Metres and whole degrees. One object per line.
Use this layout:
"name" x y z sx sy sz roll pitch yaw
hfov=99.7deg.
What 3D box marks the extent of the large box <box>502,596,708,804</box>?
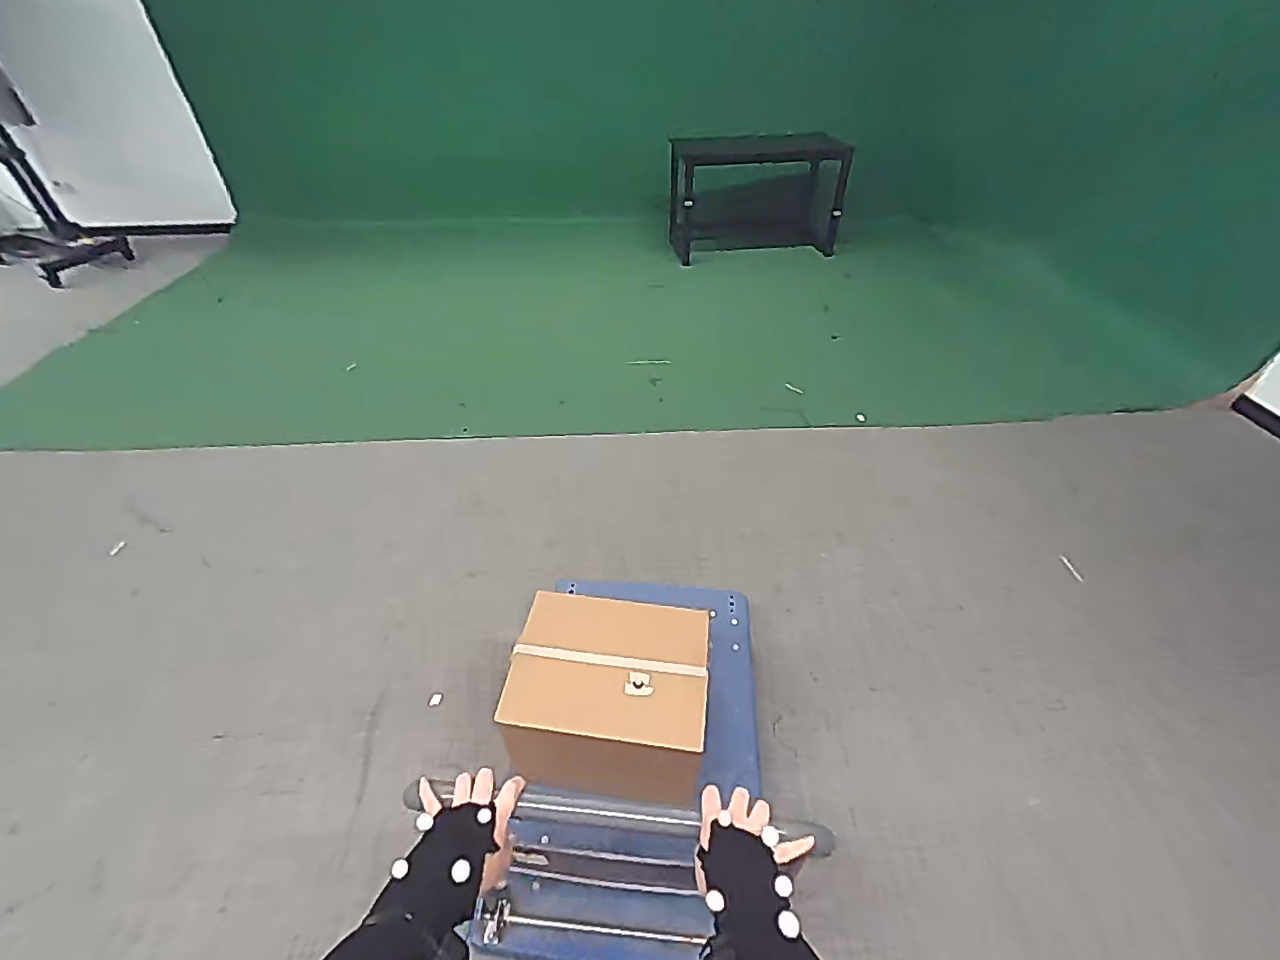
"large box" -0.063 0.504 1.248 0.408 0.320 0.320 6 42 5
